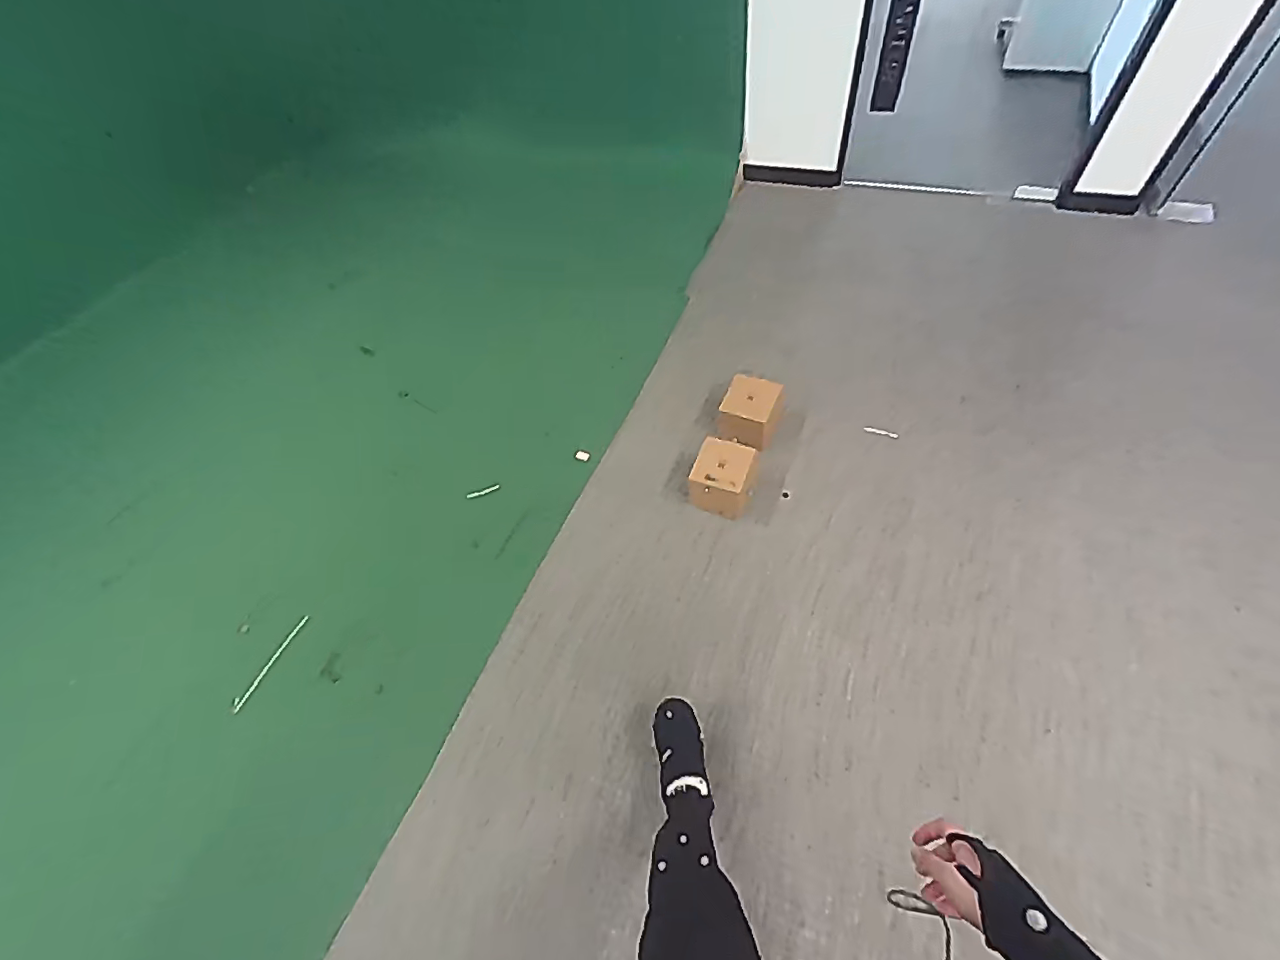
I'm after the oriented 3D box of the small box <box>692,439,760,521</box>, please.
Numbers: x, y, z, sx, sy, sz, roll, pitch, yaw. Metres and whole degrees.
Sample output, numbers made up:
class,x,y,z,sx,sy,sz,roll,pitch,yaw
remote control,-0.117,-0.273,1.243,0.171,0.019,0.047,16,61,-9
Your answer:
class,x,y,z,sx,sy,sz,roll,pitch,yaw
small box,0.275,0.001,1.733,0.168,0.176,0.179,17,60,20
